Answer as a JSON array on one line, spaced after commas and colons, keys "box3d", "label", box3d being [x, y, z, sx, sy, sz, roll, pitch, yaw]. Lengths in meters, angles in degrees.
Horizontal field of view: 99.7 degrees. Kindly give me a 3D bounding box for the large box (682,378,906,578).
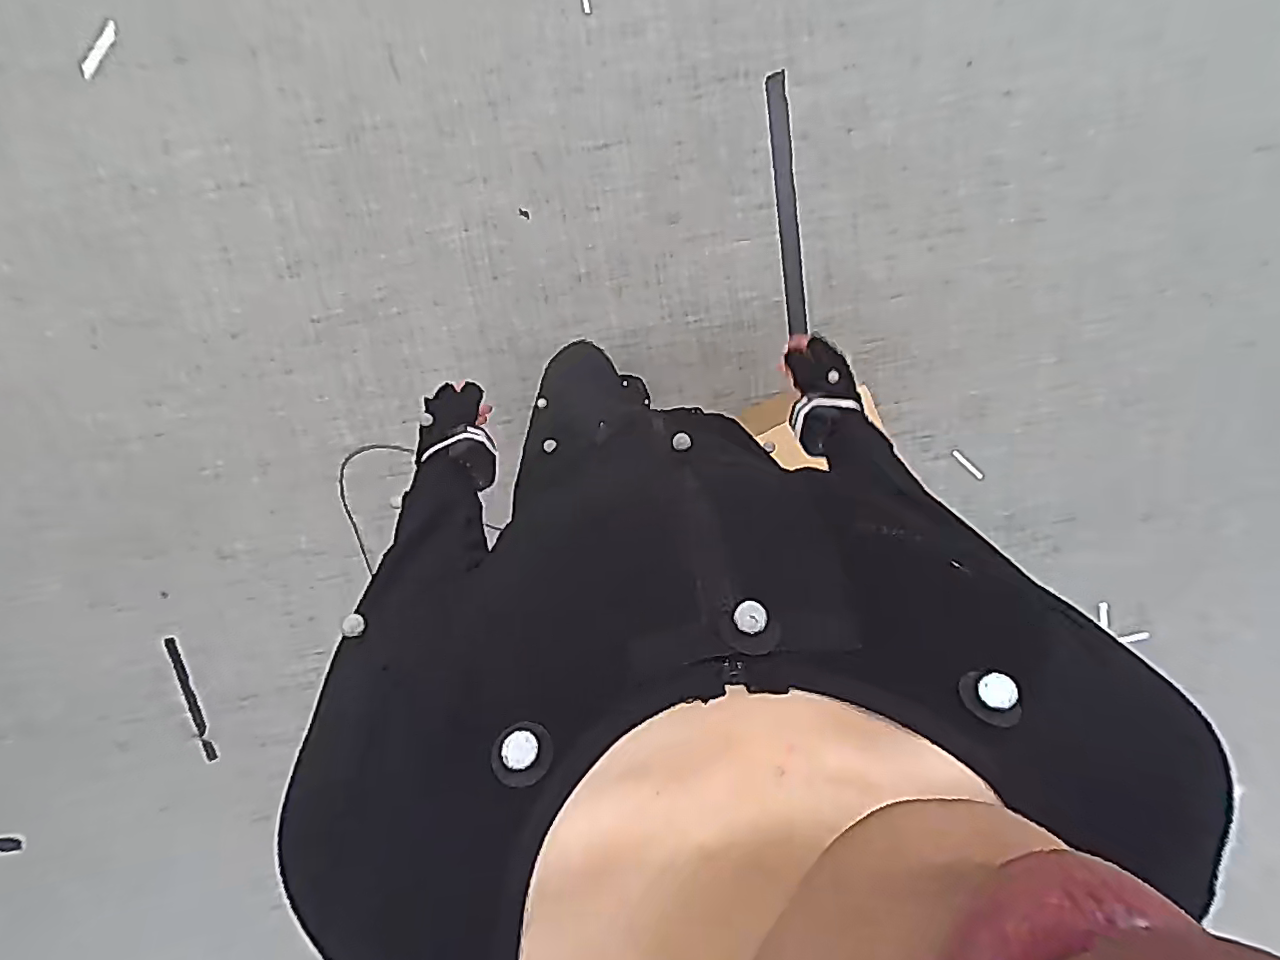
[{"box3d": [0.362, -0.025, 1.358, 0.408, 0.320, 0.320, -26, 102, 3], "label": "large box"}]
